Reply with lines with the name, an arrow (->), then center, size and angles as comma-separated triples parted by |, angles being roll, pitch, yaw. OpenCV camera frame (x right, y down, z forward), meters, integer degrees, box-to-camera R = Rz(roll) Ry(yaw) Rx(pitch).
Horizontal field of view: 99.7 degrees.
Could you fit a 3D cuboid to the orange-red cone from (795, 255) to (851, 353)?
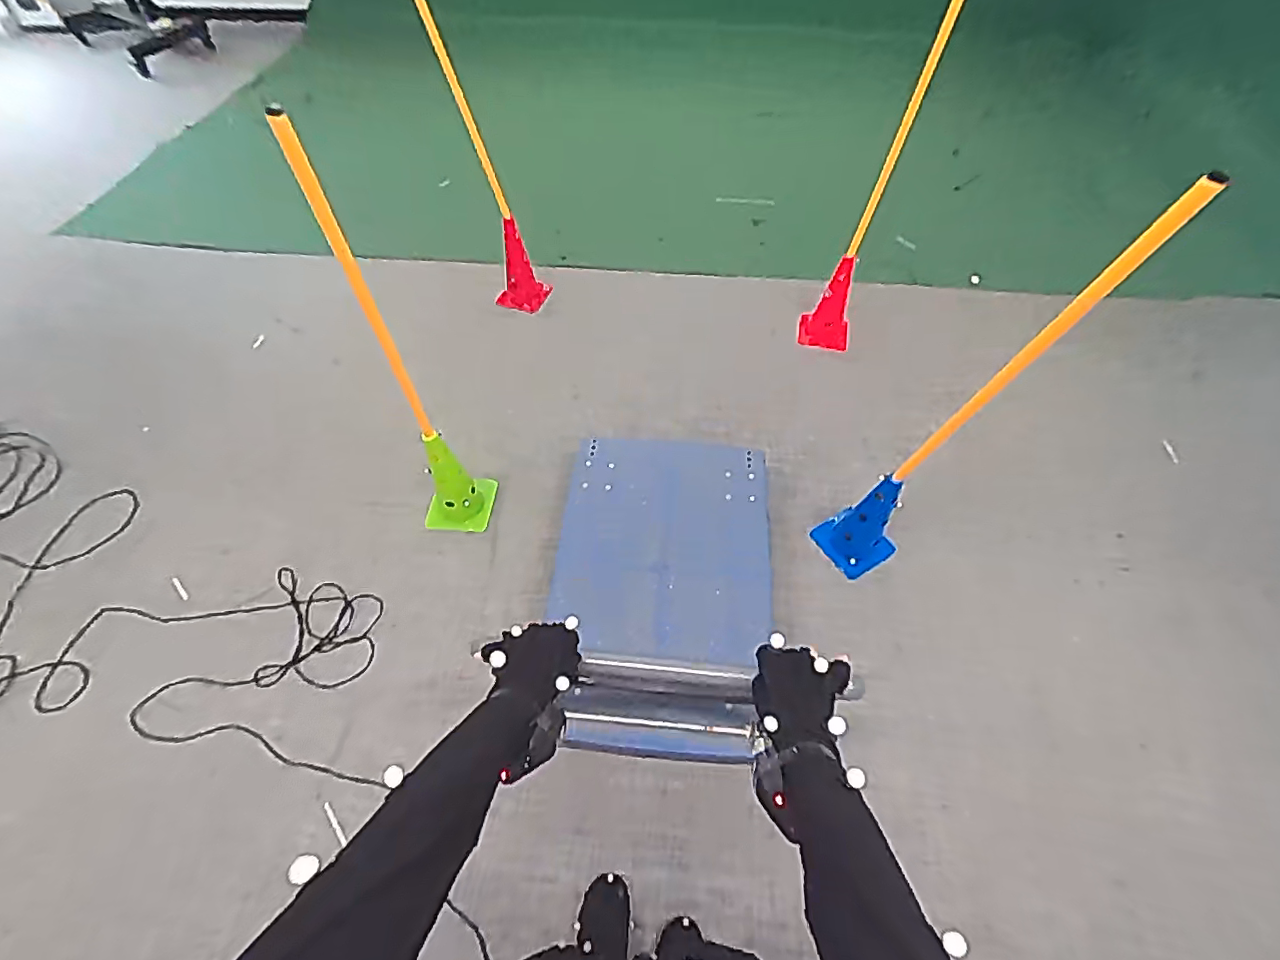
orange-red cone -> 0.751, -0.703, 2.106 | 0.198, 0.360, 0.199 | 13, 57, 9
